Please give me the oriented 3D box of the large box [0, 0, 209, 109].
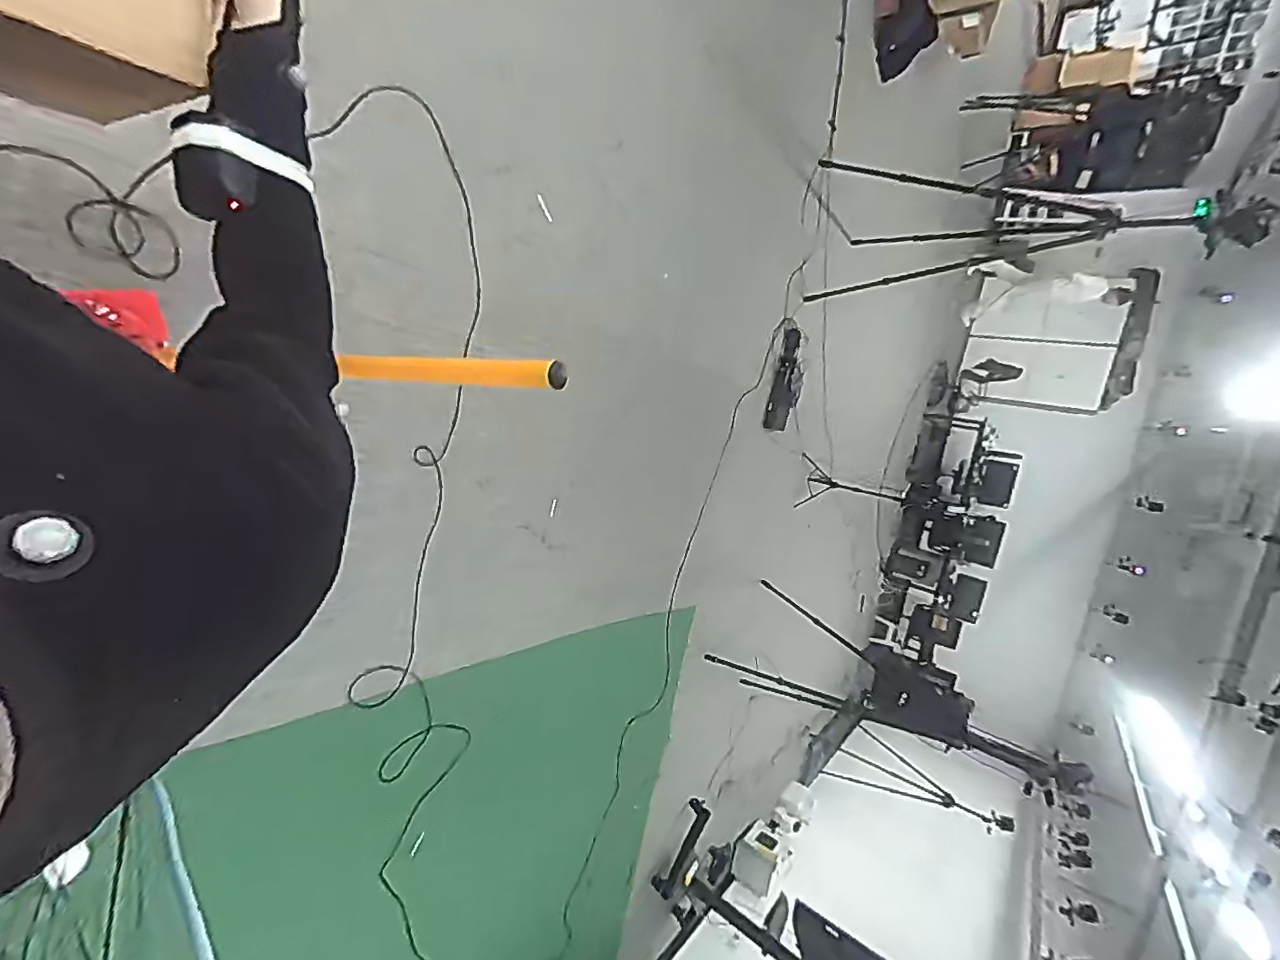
[{"bbox_3d":[-0.547,-0.473,0.307,0.408,0.320,0.320,-10,113,-53],"label":"large box"}]
